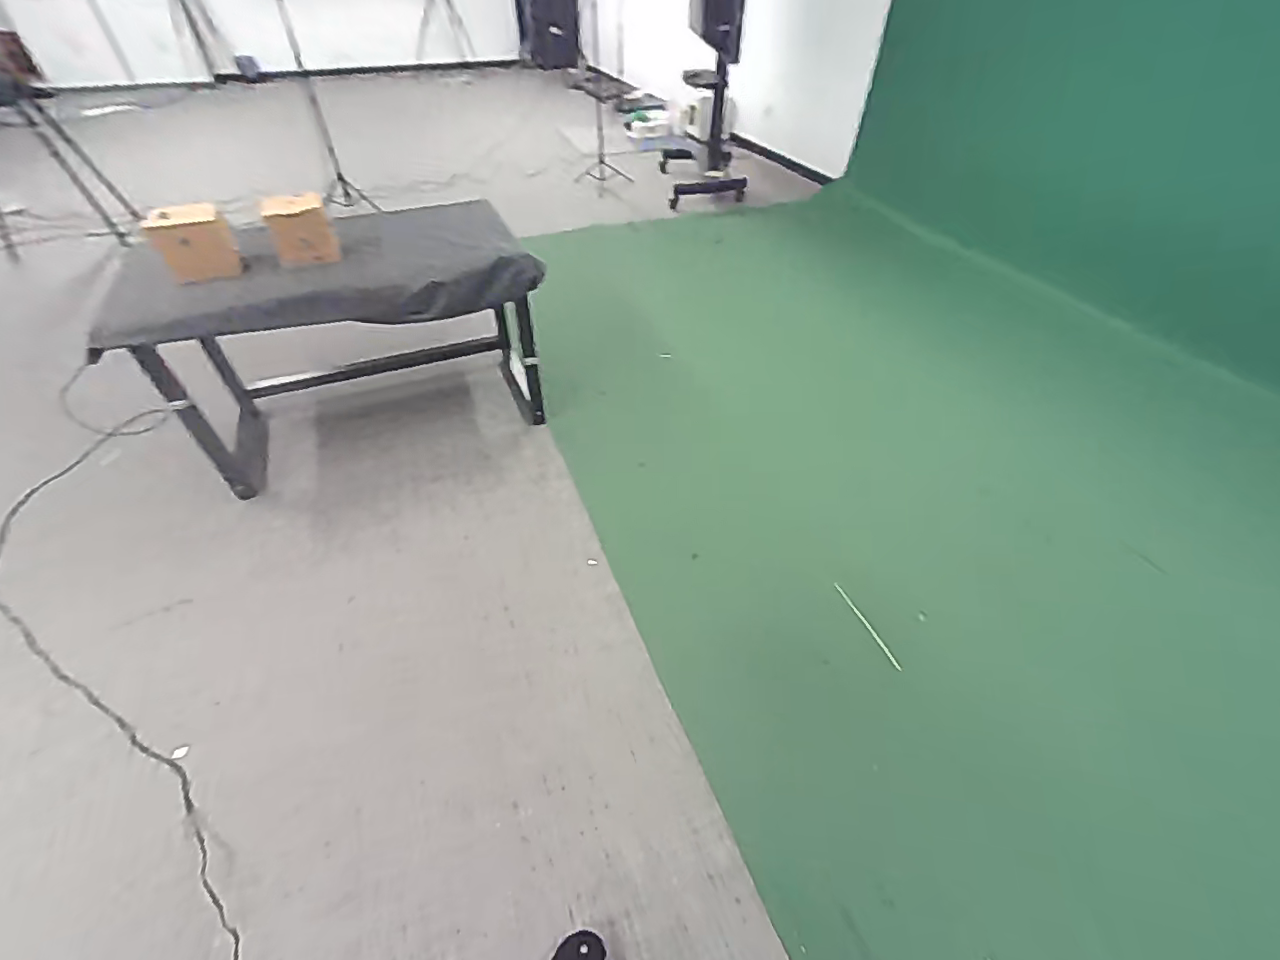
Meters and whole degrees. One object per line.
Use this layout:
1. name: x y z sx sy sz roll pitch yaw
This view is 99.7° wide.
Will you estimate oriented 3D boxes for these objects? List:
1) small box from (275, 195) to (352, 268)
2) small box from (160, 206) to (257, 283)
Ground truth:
1. small box: -1.054 -0.802 1.757 0.168 0.176 0.179 -16 47 -17
2. small box: -1.325 -0.727 1.673 0.179 0.176 0.168 -17 47 -19
